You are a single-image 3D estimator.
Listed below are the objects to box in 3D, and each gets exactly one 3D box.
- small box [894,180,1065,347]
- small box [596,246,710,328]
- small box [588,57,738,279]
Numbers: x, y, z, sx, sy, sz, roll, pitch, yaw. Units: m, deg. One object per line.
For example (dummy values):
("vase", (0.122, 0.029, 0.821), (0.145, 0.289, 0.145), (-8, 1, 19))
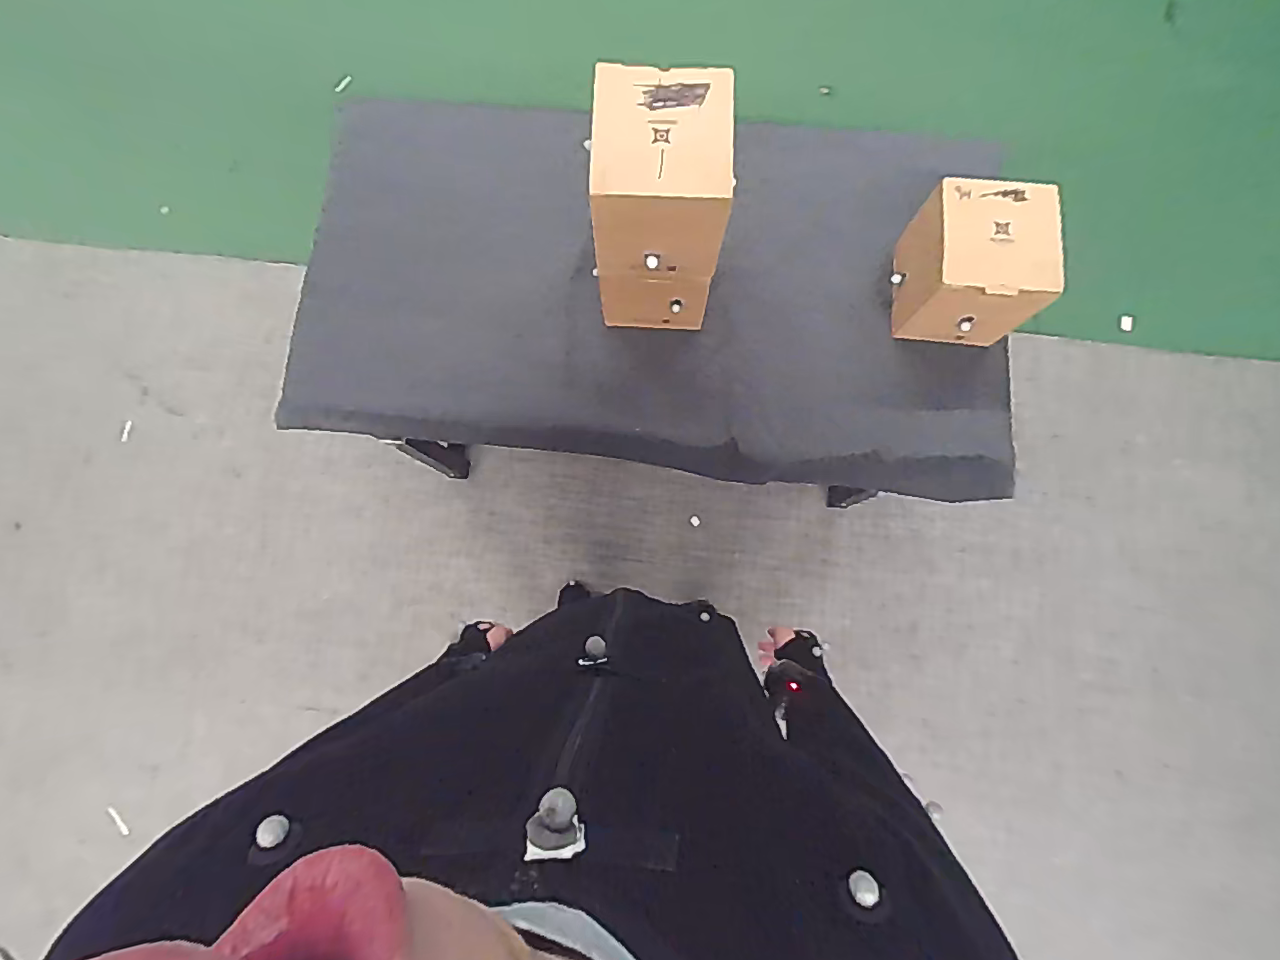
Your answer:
("small box", (0.510, -0.322, 0.833), (0.168, 0.176, 0.179), (7, 80, 2))
("small box", (0.025, -0.355, 0.847), (0.168, 0.176, 0.179), (3, 78, 0))
("small box", (0.026, -0.383, 0.685), (0.168, 0.176, 0.179), (3, 80, 0))
